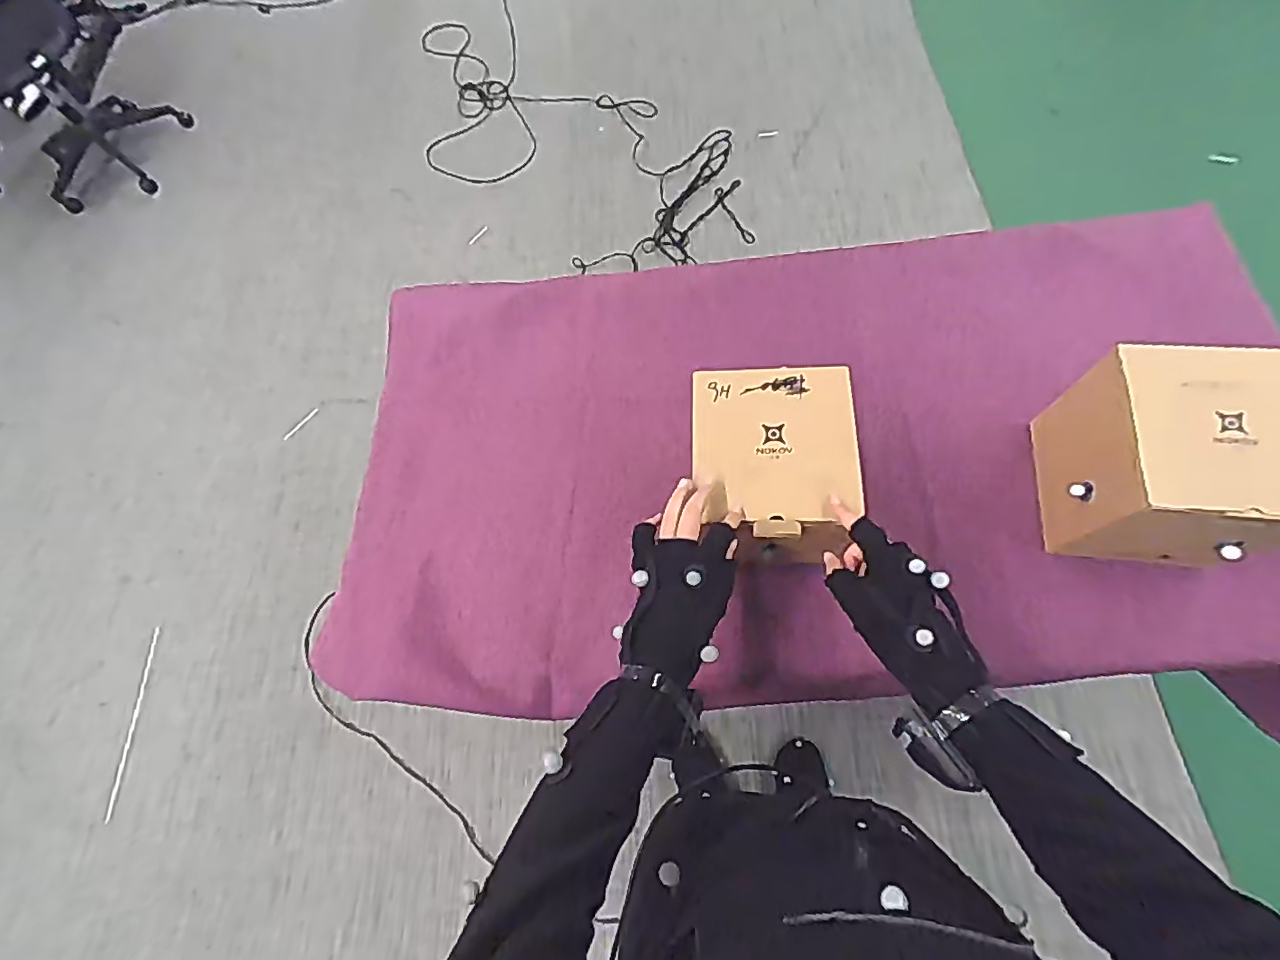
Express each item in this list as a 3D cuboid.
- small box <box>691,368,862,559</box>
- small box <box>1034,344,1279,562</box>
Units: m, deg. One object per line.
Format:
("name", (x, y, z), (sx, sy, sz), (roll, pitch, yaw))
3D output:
("small box", (0.146, -0.009, 0.624), (0.168, 0.176, 0.179), (-1, 69, 8))
("small box", (0.551, -0.020, 0.568), (0.168, 0.176, 0.179), (5, 69, 10))
